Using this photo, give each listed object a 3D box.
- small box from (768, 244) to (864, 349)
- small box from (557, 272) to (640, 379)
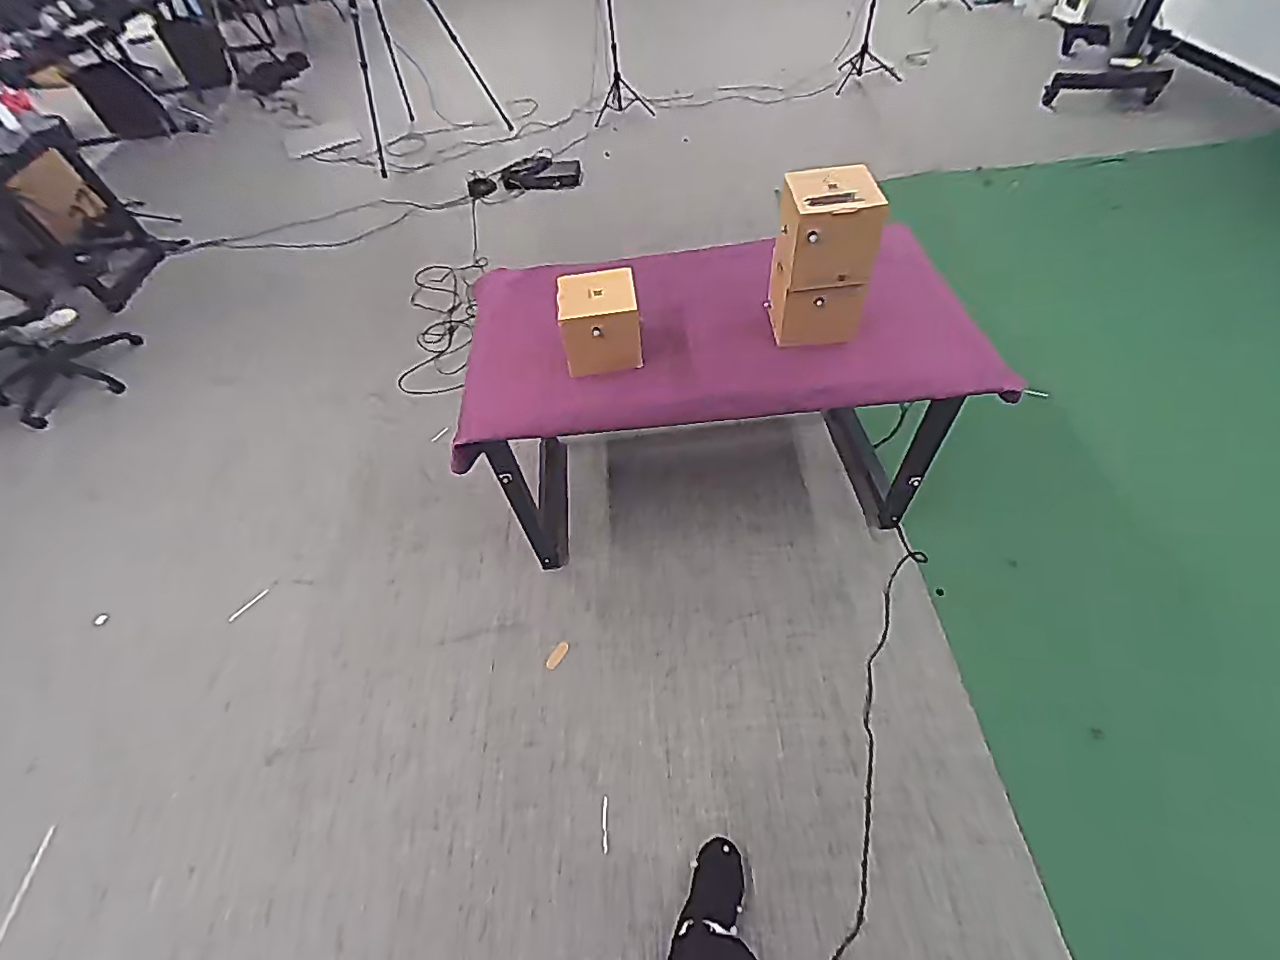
[{"bbox_3d":[0.400,-0.424,1.266,0.179,0.176,0.168,-4,53,3],"label":"small box"},{"bbox_3d":[-0.095,-0.360,1.276,0.179,0.176,0.168,-8,53,1],"label":"small box"}]
